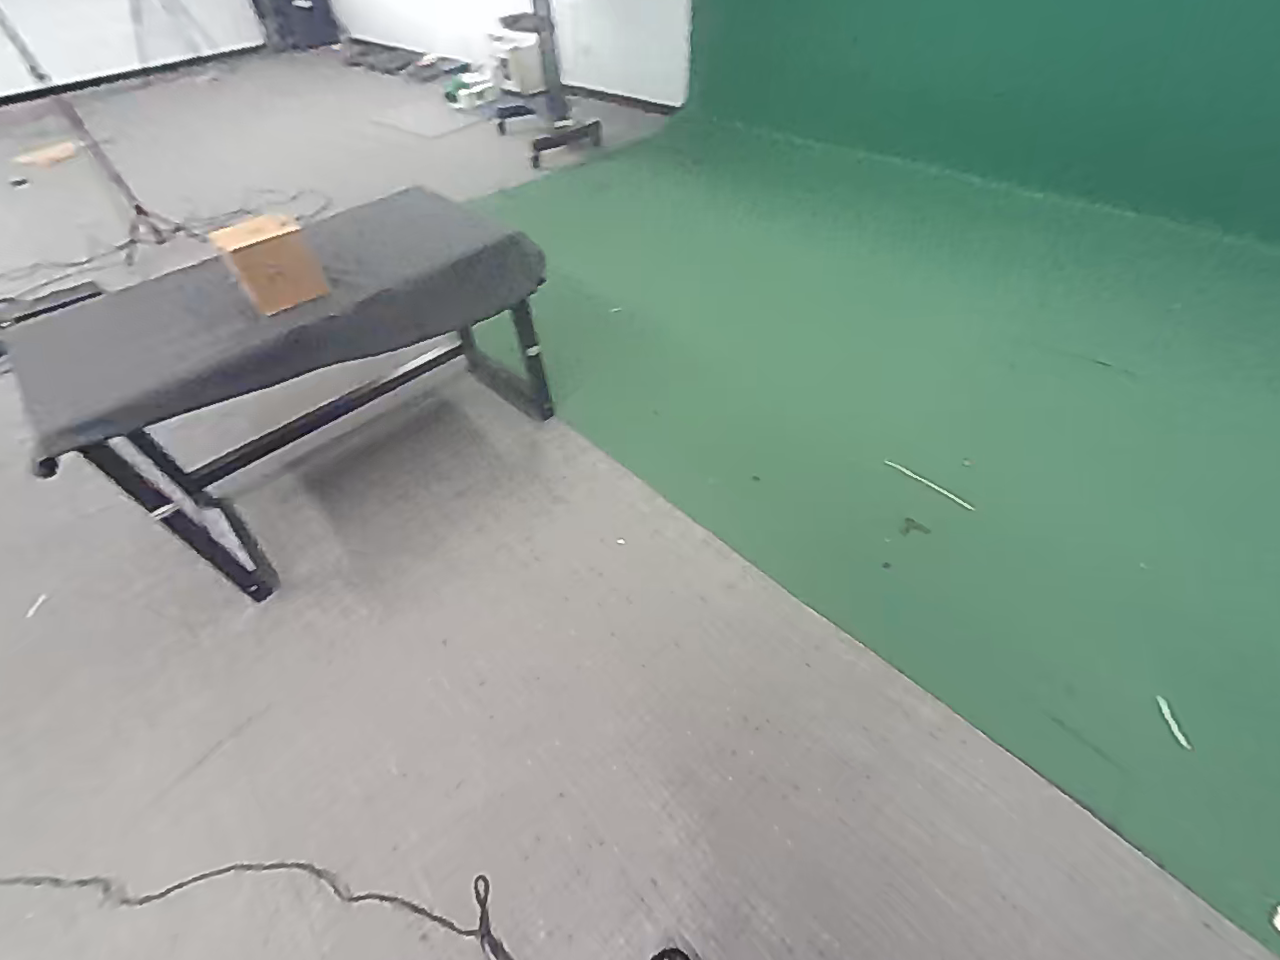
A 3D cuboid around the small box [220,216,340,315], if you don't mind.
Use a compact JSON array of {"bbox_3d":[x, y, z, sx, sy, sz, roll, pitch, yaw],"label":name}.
[{"bbox_3d":[-0.924,-0.552,1.398,0.168,0.176,0.179,34,58,32],"label":"small box"}]
